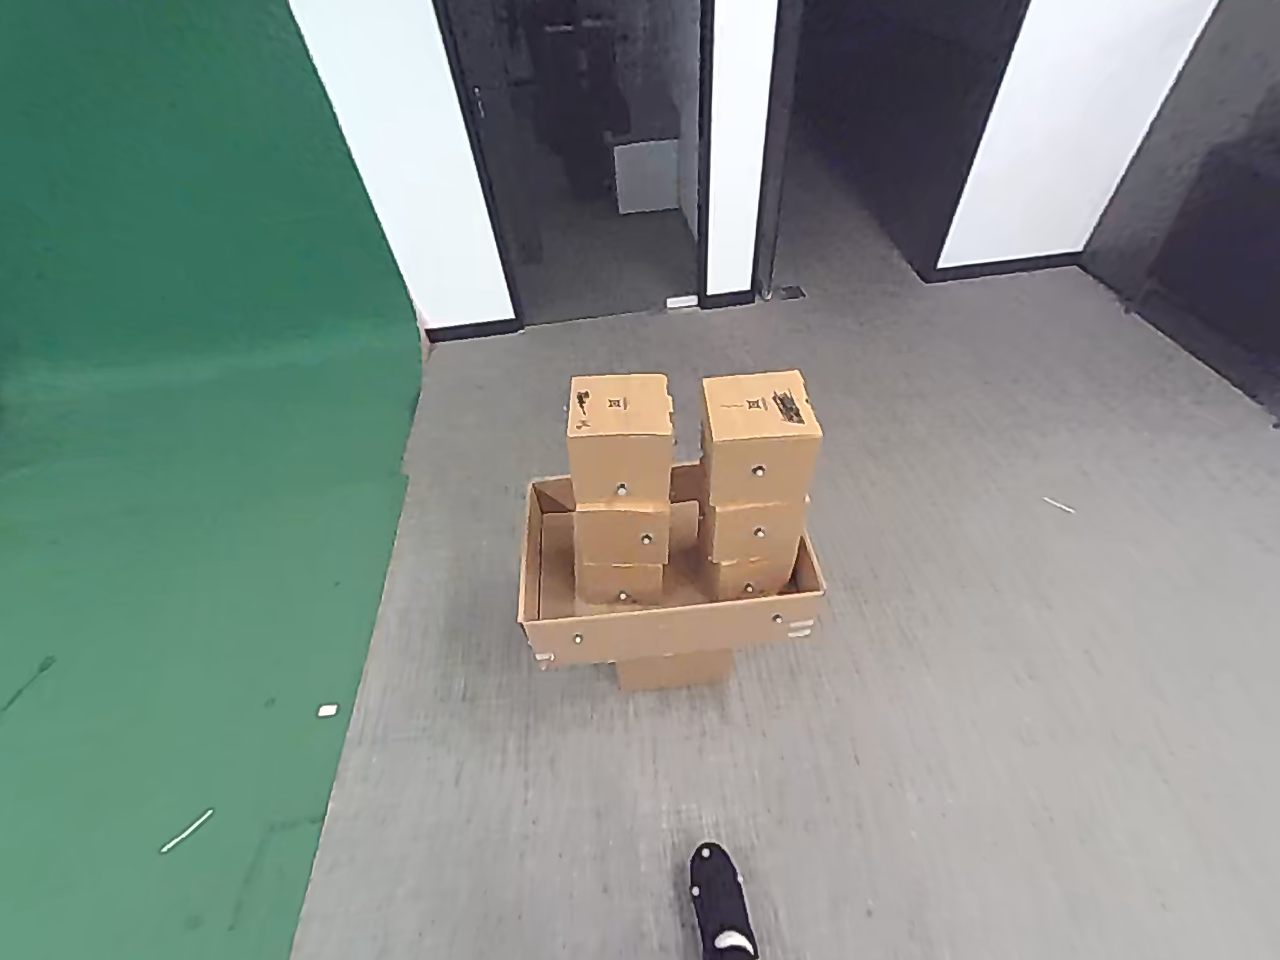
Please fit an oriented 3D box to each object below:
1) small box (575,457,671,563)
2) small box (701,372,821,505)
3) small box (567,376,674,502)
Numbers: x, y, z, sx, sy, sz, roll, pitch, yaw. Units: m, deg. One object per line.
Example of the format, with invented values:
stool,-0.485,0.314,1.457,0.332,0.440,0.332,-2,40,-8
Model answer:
small box,-0.029,0.056,1.092,0.179,0.176,0.168,1,46,1
small box,0.203,-0.070,0.964,0.179,0.176,0.168,-4,48,2
small box,-0.036,-0.072,0.989,0.179,0.176,0.168,0,46,-2
